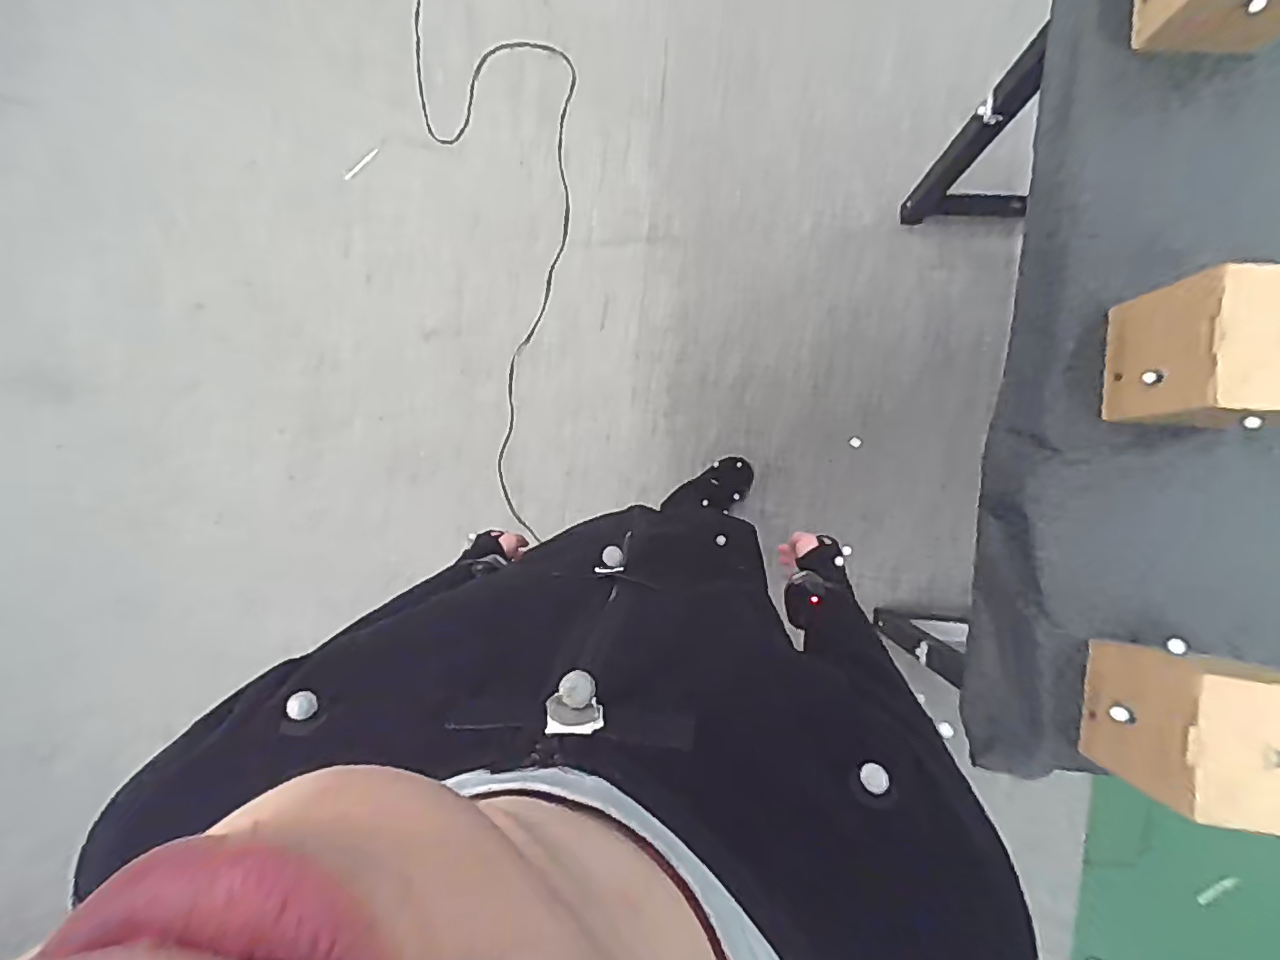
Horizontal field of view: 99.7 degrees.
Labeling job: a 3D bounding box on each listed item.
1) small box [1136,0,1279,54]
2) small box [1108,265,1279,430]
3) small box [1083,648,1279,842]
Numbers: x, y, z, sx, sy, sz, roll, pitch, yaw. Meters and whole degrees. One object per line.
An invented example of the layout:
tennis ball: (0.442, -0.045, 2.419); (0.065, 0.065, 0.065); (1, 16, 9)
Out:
small box: (0.785, -0.674, 0.673); (0.179, 0.176, 0.168); (5, 90, 4)
small box: (0.742, -0.153, 0.679); (0.179, 0.176, 0.168); (4, 91, 2)
small box: (0.704, 0.318, 0.673); (0.179, 0.176, 0.168); (7, 88, 4)
